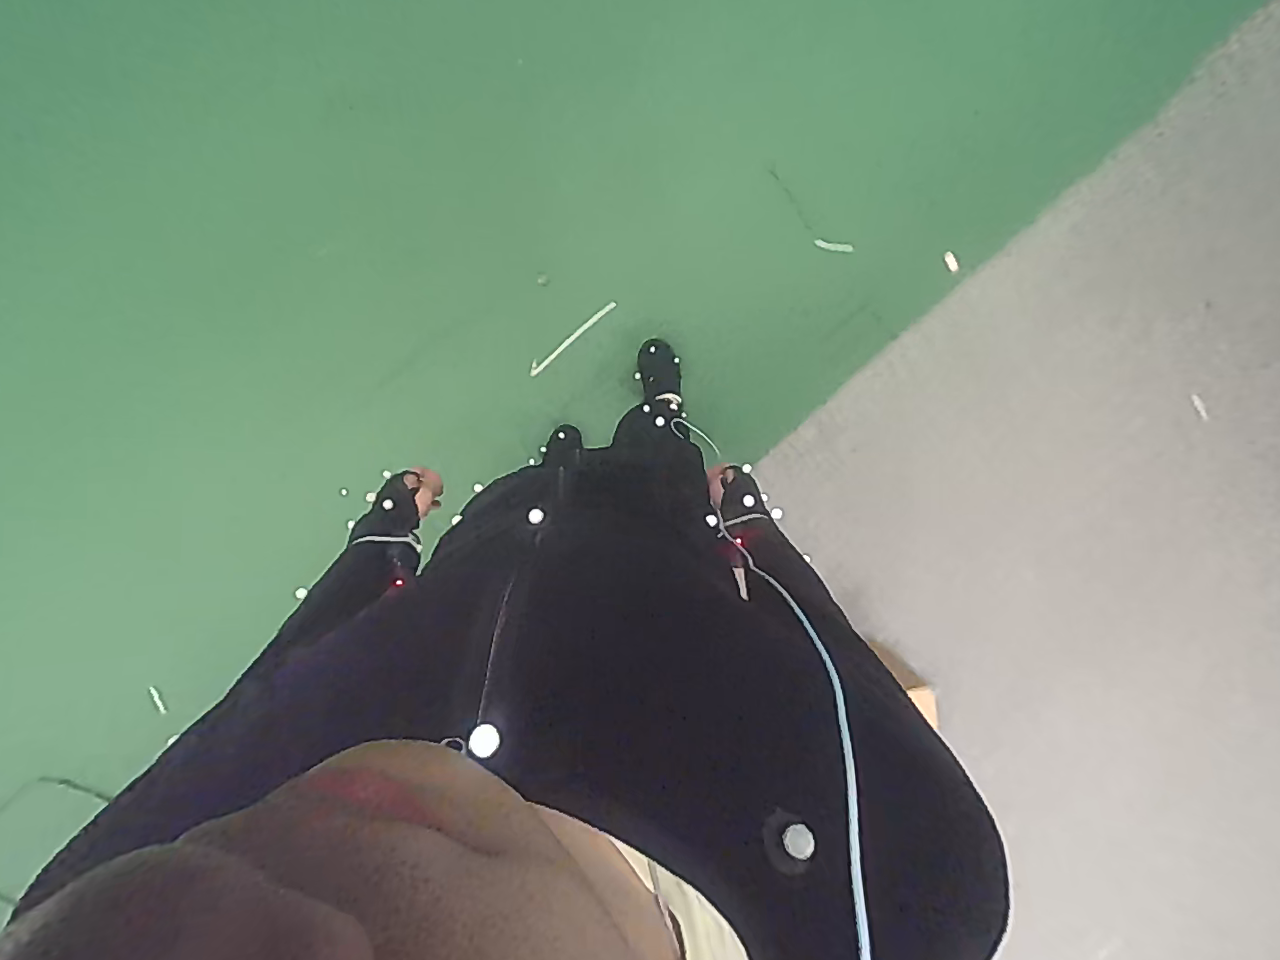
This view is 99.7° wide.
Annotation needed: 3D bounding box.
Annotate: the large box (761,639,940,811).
[{"bbox_3d":[0.637,0.739,1.680,0.408,0.320,0.320,-11,100,-5],"label":"large box"}]
